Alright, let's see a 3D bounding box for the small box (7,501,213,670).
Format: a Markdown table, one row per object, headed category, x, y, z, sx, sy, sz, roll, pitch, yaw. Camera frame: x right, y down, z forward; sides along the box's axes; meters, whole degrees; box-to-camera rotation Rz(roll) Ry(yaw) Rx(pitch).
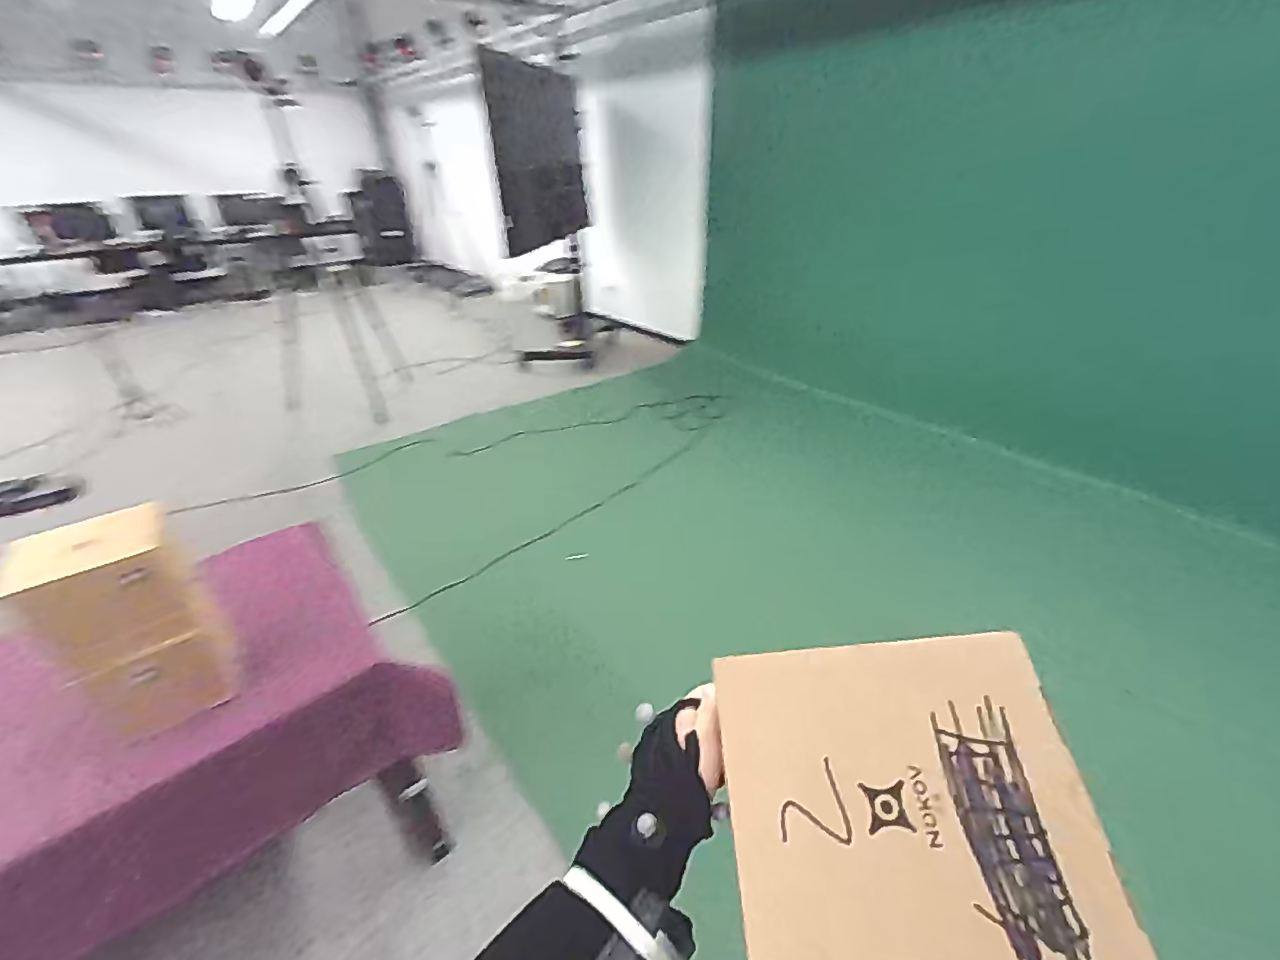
| category | x | y | z | sx | sy | sz | roll | pitch | yaw |
| --- | --- | --- | --- | --- | --- | --- | --- | --- | --- |
| small box | -0.825 | 0.166 | 0.864 | 0.179 | 0.176 | 0.168 | -23 | 38 | -30 |
